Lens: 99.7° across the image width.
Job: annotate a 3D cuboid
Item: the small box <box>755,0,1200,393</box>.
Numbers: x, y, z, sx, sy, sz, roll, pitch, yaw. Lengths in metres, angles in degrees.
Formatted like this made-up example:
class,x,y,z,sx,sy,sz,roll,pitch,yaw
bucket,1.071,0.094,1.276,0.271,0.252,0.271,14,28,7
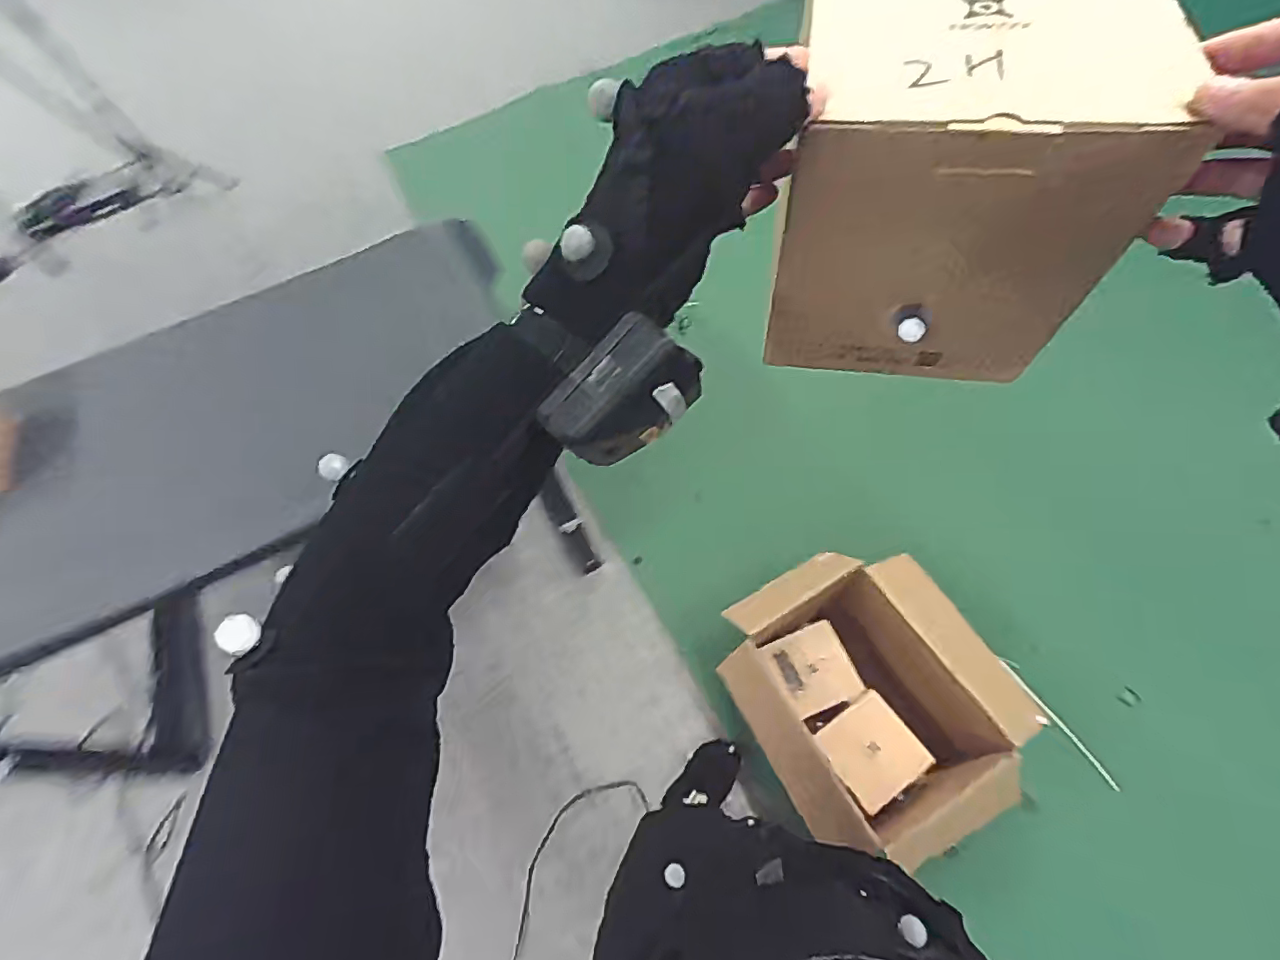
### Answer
class,x,y,z,sx,sy,sz,roll,pitch,yaw
small box,0.166,-0.179,0.338,0.168,0.176,0.179,6,63,9
